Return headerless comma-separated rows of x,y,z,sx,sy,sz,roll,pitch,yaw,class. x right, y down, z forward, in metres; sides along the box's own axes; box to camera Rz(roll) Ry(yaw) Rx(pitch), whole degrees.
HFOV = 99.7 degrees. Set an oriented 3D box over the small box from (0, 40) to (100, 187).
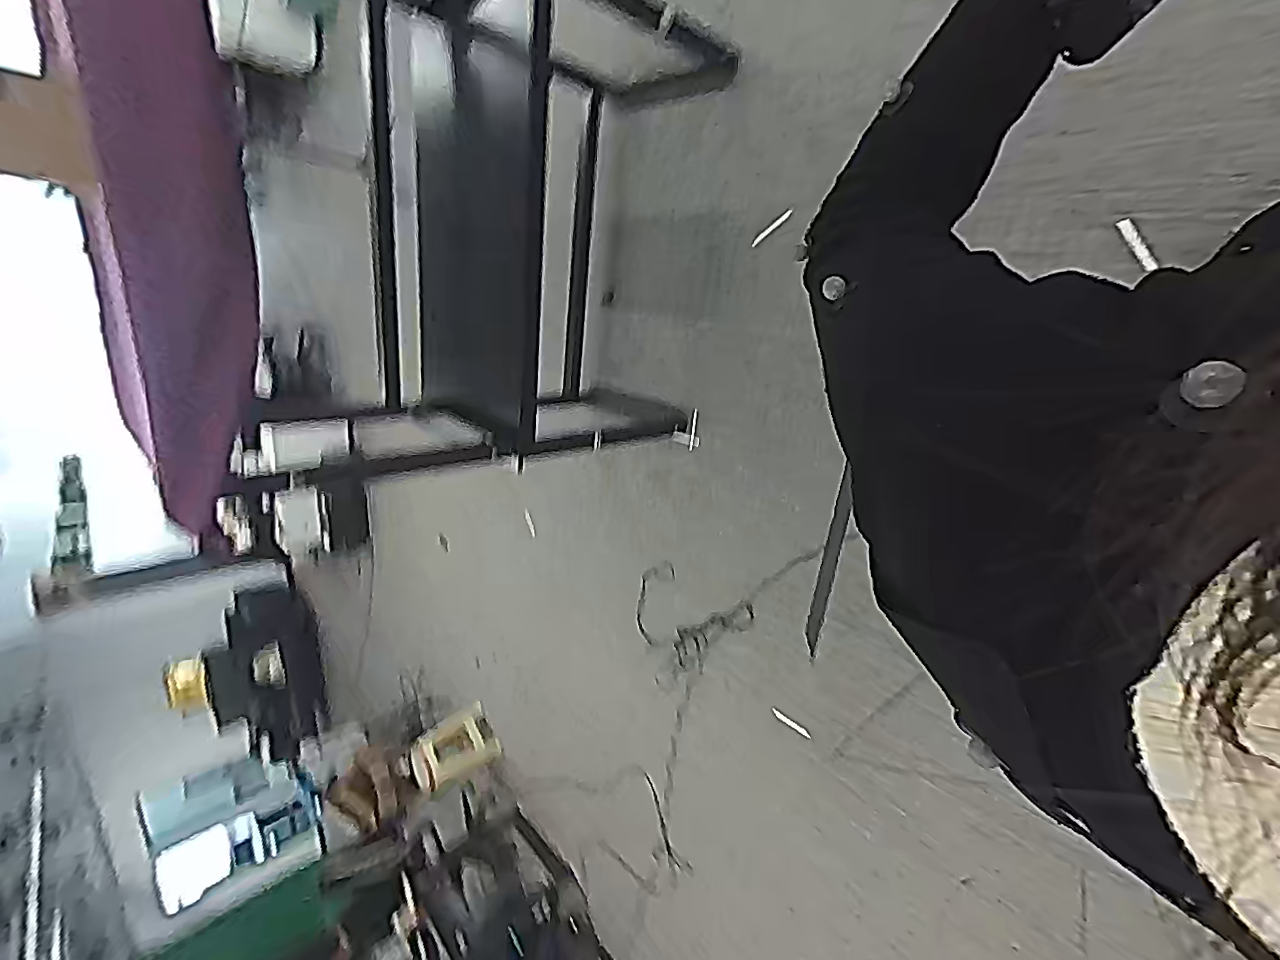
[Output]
-0.979,-0.572,0.840,0.168,0.176,0.179,25,117,41,small box
